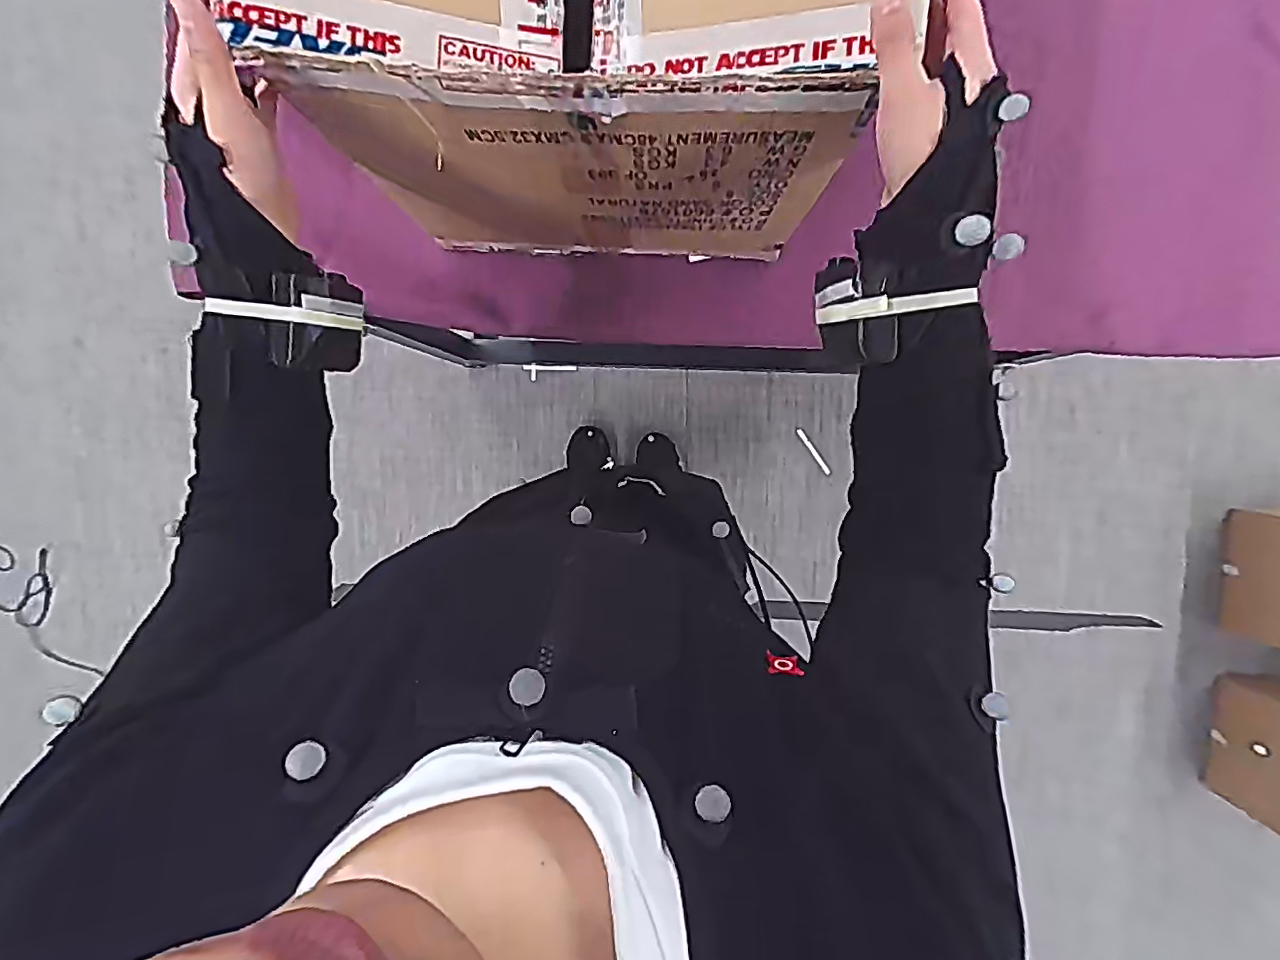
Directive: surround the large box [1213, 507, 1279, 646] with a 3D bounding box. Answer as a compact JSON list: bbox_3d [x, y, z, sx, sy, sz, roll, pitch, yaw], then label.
[{"bbox_3d":[1.659,0.232,1.214,0.408,0.320,0.320,0,95,2],"label":"large box"}]
